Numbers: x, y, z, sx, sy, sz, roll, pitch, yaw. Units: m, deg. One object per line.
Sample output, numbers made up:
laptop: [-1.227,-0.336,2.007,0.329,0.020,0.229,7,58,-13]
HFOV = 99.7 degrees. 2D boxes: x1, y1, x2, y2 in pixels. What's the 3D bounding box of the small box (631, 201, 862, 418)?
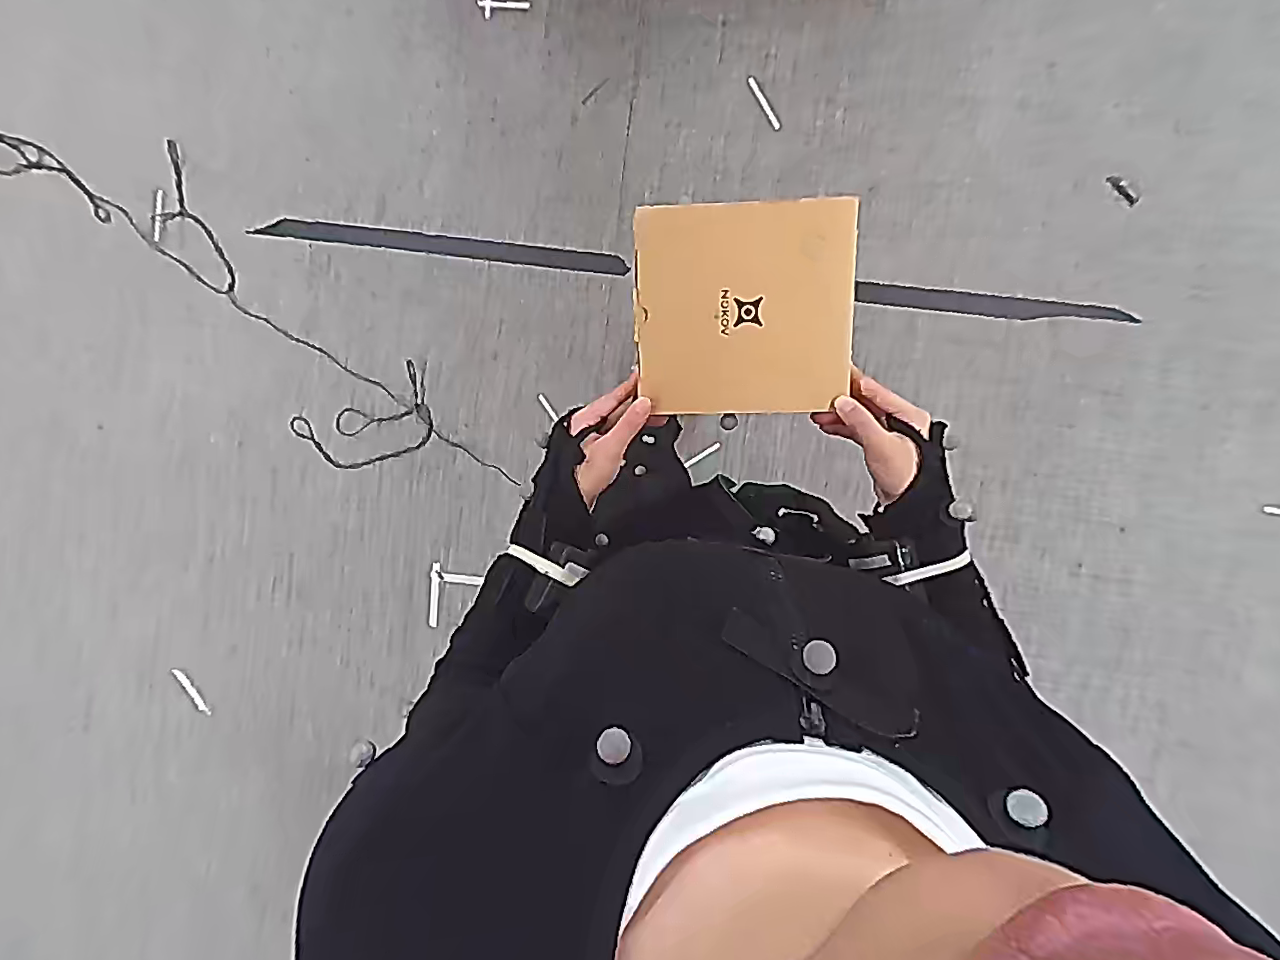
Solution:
small box: [0.088,-0.152,0.510,0.179,0.176,0.168,2,102,6]
